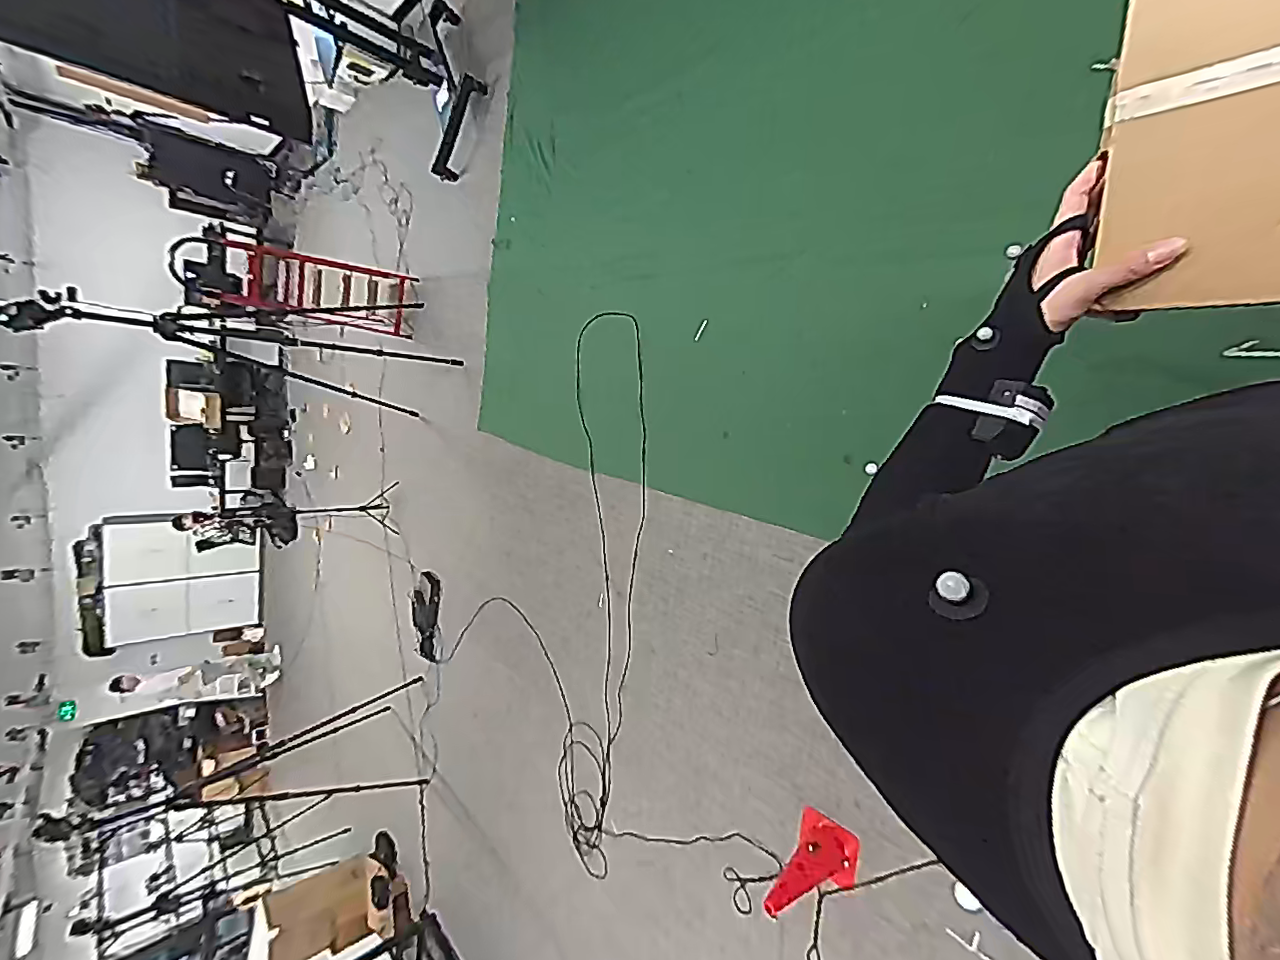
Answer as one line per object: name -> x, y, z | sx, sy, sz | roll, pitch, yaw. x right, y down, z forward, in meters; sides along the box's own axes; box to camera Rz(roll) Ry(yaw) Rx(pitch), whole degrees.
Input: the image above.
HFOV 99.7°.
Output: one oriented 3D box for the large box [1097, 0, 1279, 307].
large box -> 0.628, -0.307, 0.388 | 0.408, 0.320, 0.320 | 12, 113, 46
